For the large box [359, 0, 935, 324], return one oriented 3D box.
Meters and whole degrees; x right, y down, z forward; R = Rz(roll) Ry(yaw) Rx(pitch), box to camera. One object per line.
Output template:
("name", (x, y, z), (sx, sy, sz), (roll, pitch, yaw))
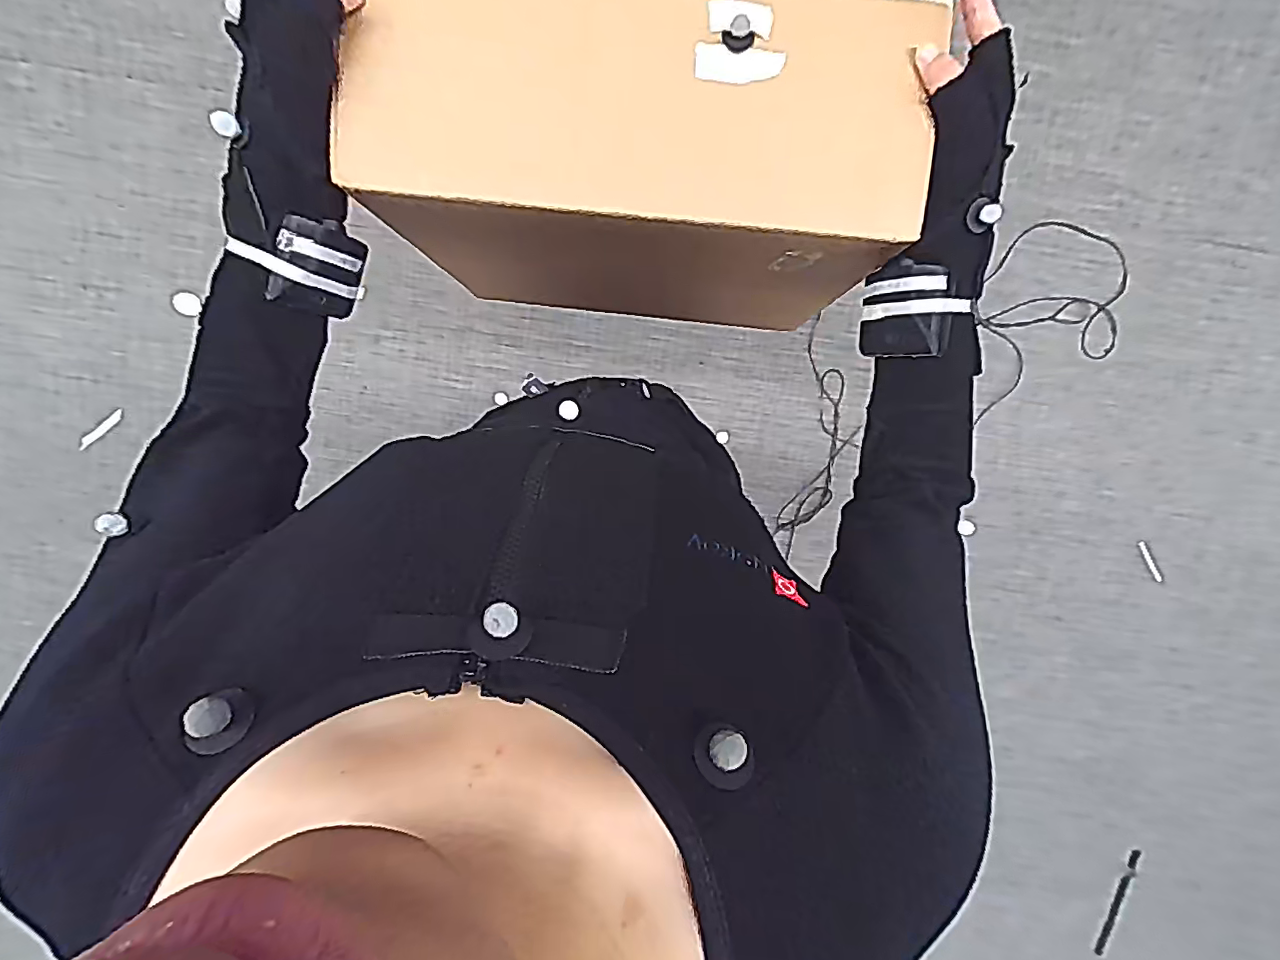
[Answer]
("large box", (0.008, -0.353, 0.525), (0.408, 0.320, 0.320), (6, 94, 1))
